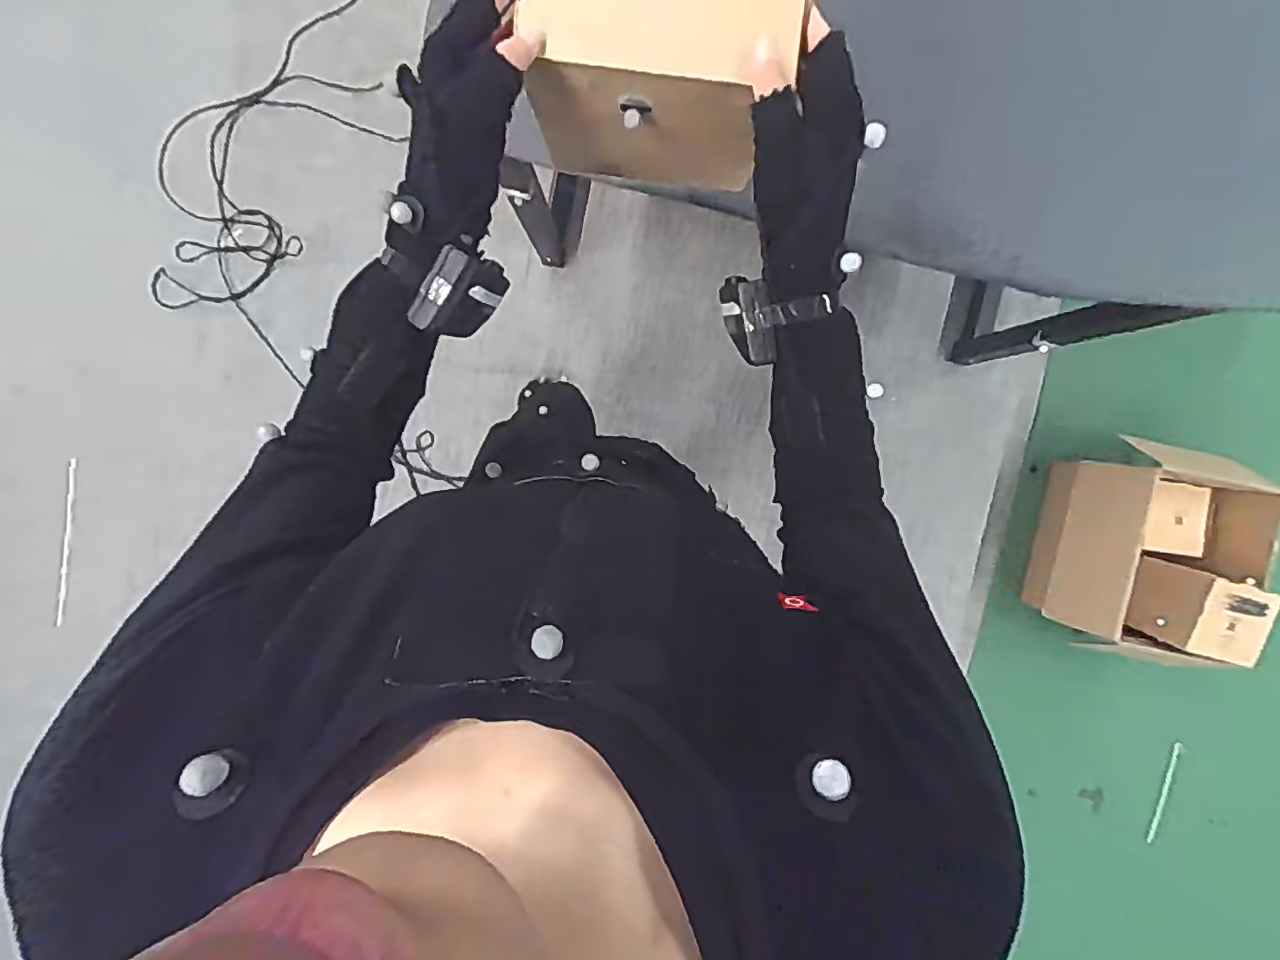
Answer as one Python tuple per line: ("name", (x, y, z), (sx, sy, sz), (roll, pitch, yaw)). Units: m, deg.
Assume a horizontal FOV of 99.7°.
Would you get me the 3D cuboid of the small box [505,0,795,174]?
("small box", (0.012, -0.350, 0.398), (0.179, 0.176, 0.168), (6, 100, -3))
